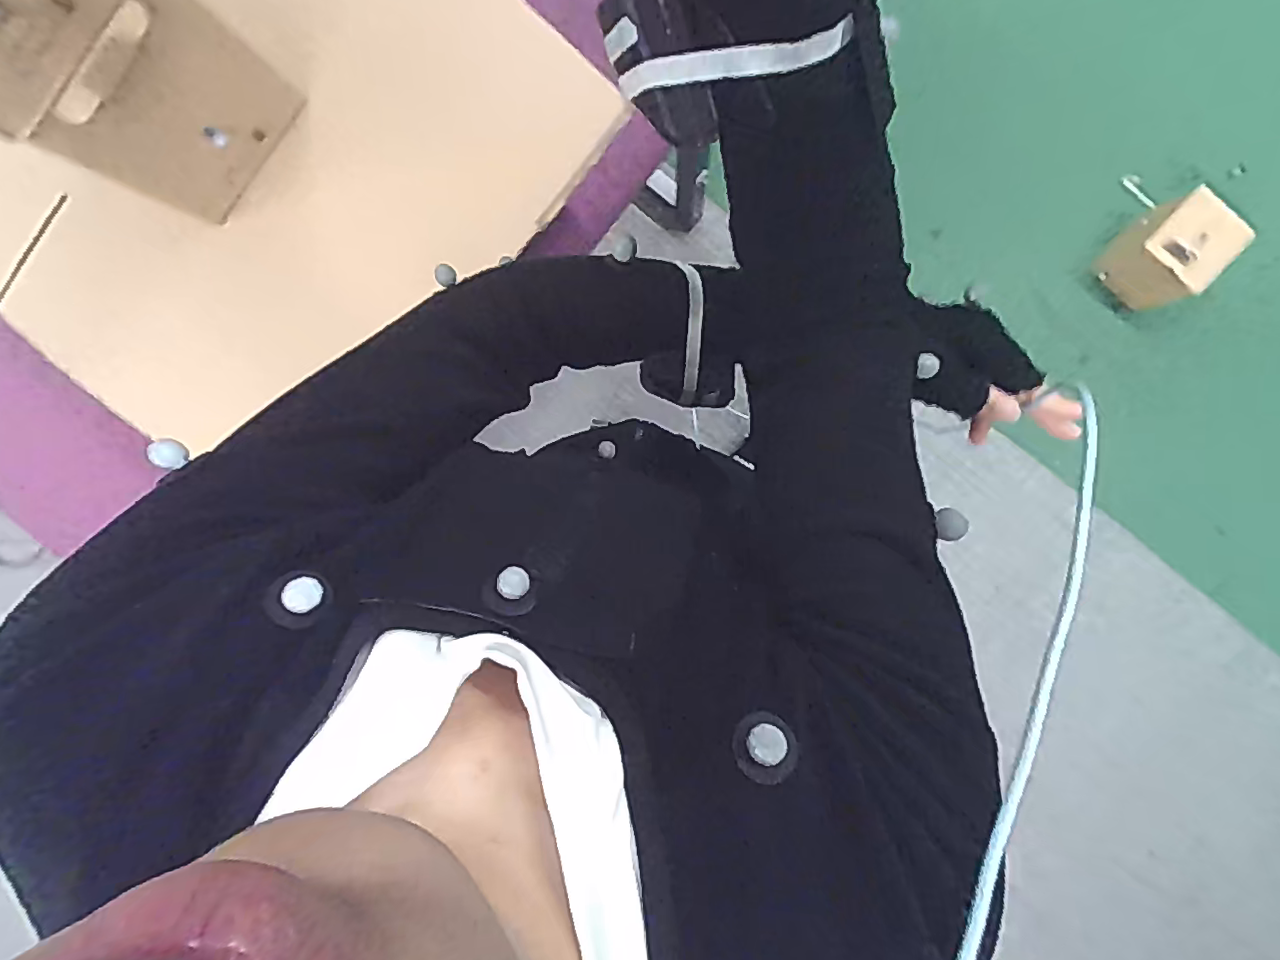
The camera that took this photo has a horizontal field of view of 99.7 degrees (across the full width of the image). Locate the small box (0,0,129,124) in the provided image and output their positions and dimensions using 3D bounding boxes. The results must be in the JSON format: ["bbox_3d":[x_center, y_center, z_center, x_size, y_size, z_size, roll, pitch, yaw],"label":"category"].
[{"bbox_3d":[-0.472,-0.363,0.315,0.179,0.176,0.168,41,96,0],"label":"small box"}]

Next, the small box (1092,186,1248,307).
[{"bbox_3d":[1.235,-0.540,1.282,0.168,0.176,0.179,41,95,-2],"label":"small box"}]

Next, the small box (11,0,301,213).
[{"bbox_3d":[-0.460,-0.378,0.477,0.179,0.176,0.168,41,97,0],"label":"small box"}]
